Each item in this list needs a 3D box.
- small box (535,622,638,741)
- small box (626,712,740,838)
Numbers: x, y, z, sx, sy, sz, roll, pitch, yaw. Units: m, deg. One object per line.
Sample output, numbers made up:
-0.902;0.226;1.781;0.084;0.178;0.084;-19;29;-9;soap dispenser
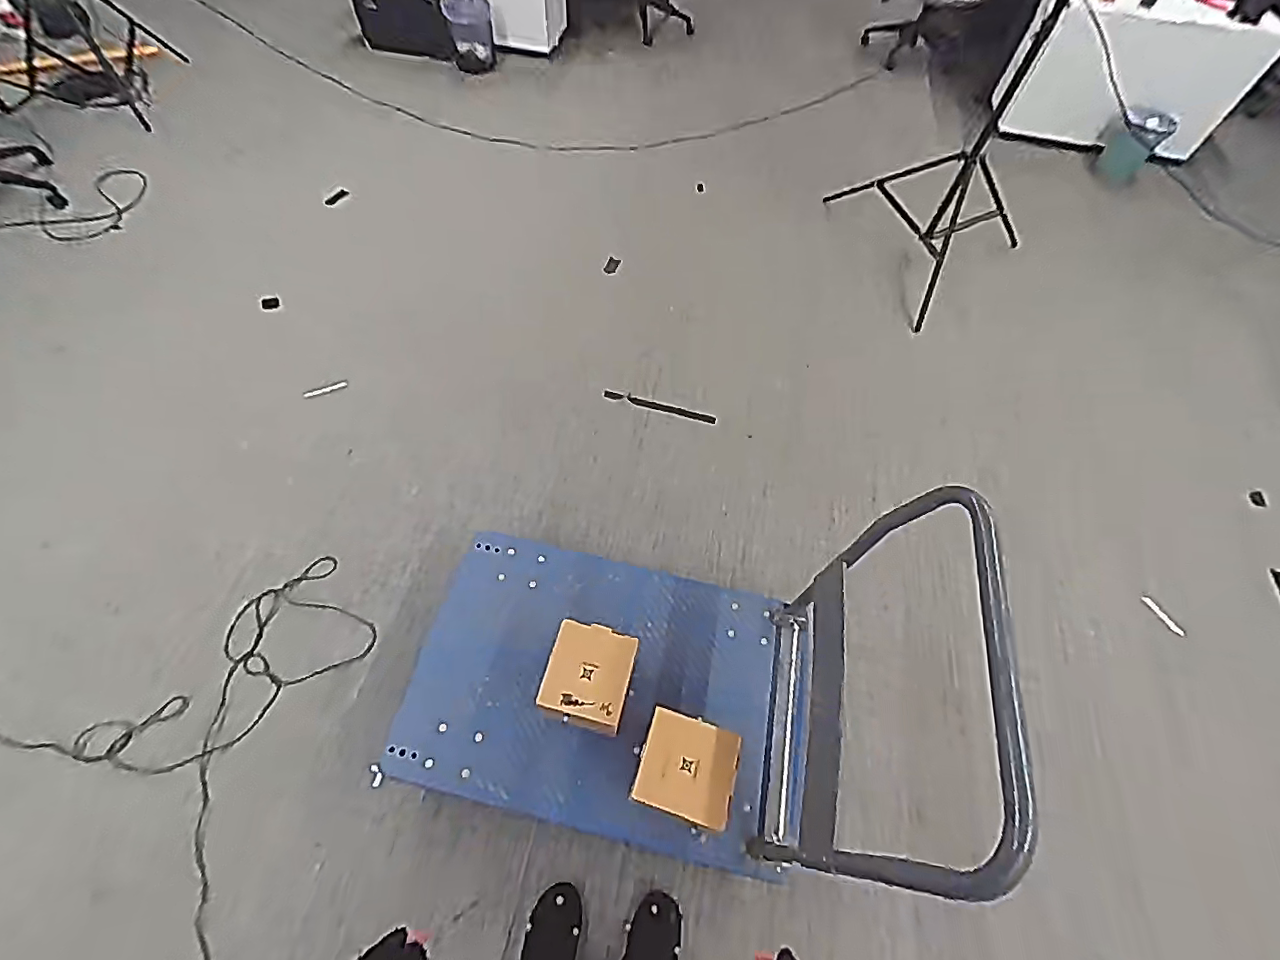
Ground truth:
-0.109;0.430;1.145;0.168;0.176;0.179;14;57;6;small box
0.081;0.582;1.065;0.179;0.176;0.168;16;56;8;small box
